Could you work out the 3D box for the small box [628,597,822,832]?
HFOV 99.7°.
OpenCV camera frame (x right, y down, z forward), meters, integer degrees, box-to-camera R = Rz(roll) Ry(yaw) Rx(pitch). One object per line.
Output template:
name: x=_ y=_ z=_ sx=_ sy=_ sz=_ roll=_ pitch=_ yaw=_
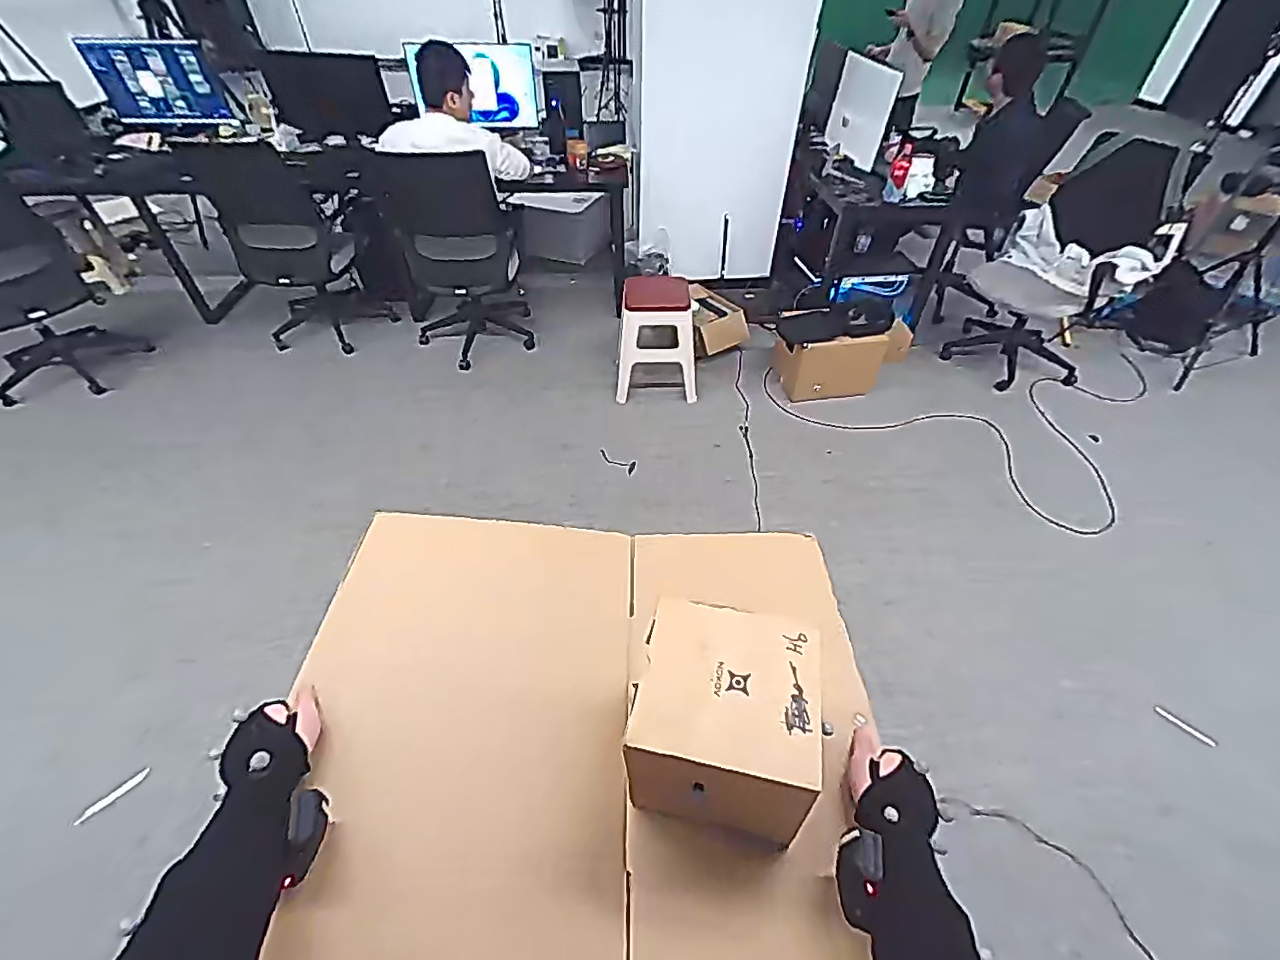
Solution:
small box: x=0.095 y=0.254 z=0.589 sx=0.179 sy=0.176 sz=0.168 roll=7 pitch=44 yaw=12
